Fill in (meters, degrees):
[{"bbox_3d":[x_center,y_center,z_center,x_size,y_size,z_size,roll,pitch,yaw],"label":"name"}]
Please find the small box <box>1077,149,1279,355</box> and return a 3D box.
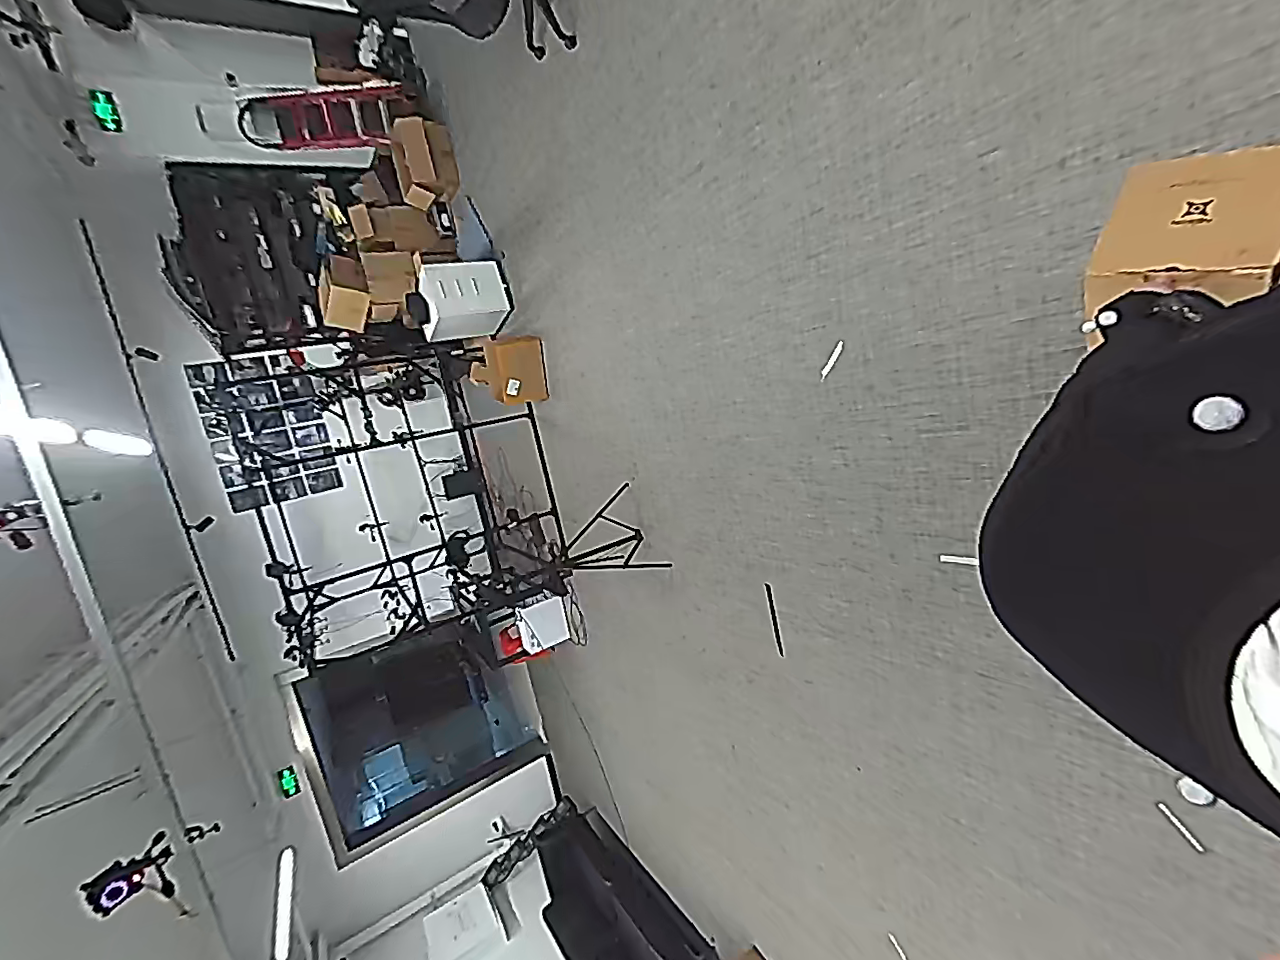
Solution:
[{"bbox_3d":[0.702,-0.282,0.701,0.168,0.176,0.179,21,80,45],"label":"small box"}]
